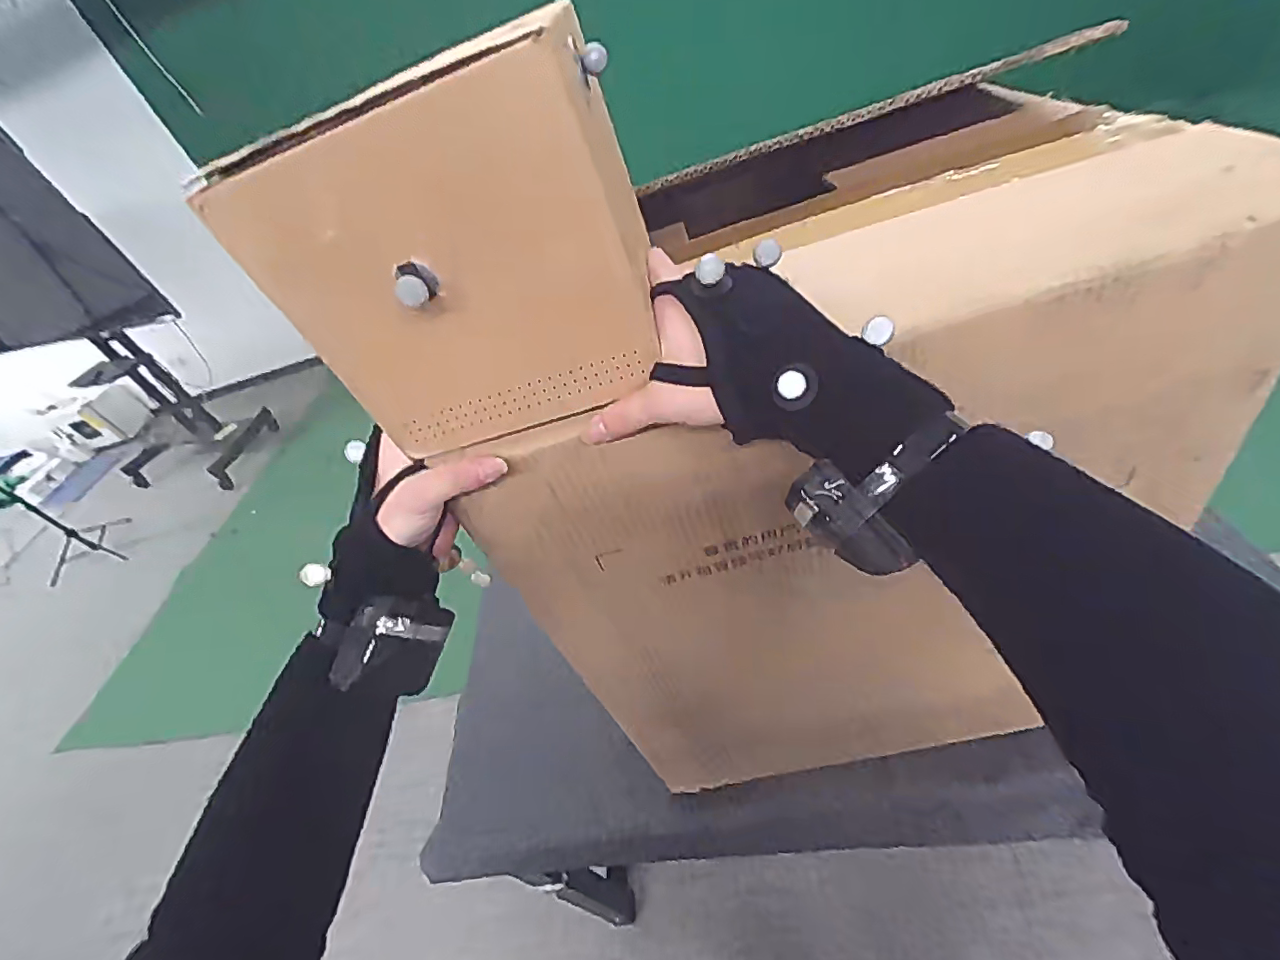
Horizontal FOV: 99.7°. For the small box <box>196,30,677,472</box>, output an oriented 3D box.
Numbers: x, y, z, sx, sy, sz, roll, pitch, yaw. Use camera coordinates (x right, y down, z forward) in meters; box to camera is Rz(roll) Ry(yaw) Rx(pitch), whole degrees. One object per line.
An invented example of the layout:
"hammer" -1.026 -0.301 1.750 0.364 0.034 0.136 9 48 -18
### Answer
"small box" -0.089 -0.128 0.326 0.179 0.176 0.168 -15 43 12
